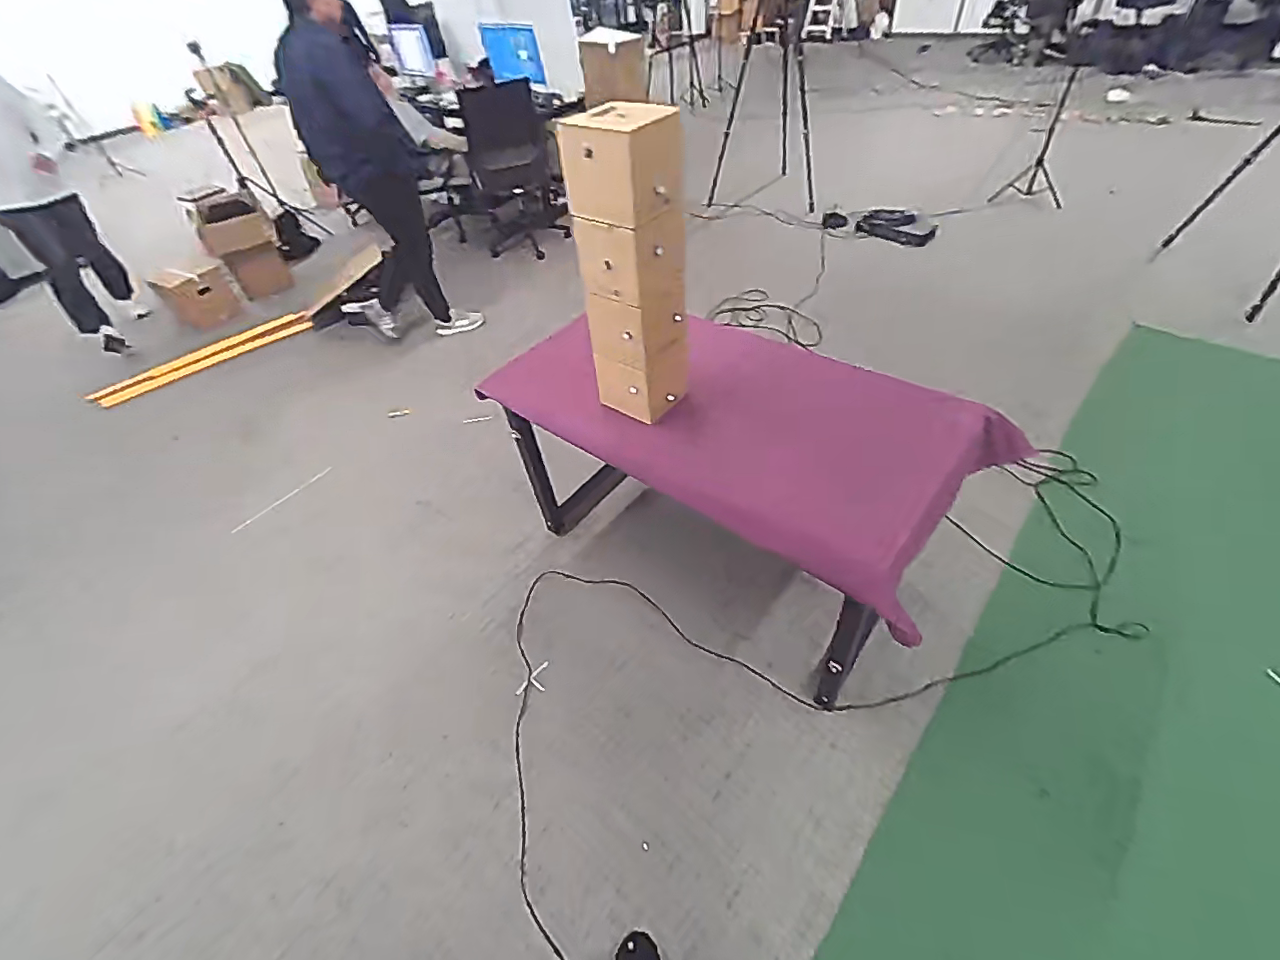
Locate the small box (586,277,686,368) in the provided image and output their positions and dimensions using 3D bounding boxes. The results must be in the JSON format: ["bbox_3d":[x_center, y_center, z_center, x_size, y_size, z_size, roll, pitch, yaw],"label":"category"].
[{"bbox_3d":[-0.001,-0.393,1.300,0.179,0.176,0.168,28,55,30],"label":"small box"}]

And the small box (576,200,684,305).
[{"bbox_3d":[-0.012,-0.509,1.186,0.168,0.176,0.179,28,56,28],"label":"small box"}]

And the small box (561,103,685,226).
[{"bbox_3d":[-0.028,-0.620,1.065,0.179,0.176,0.168,28,55,28],"label":"small box"}]
